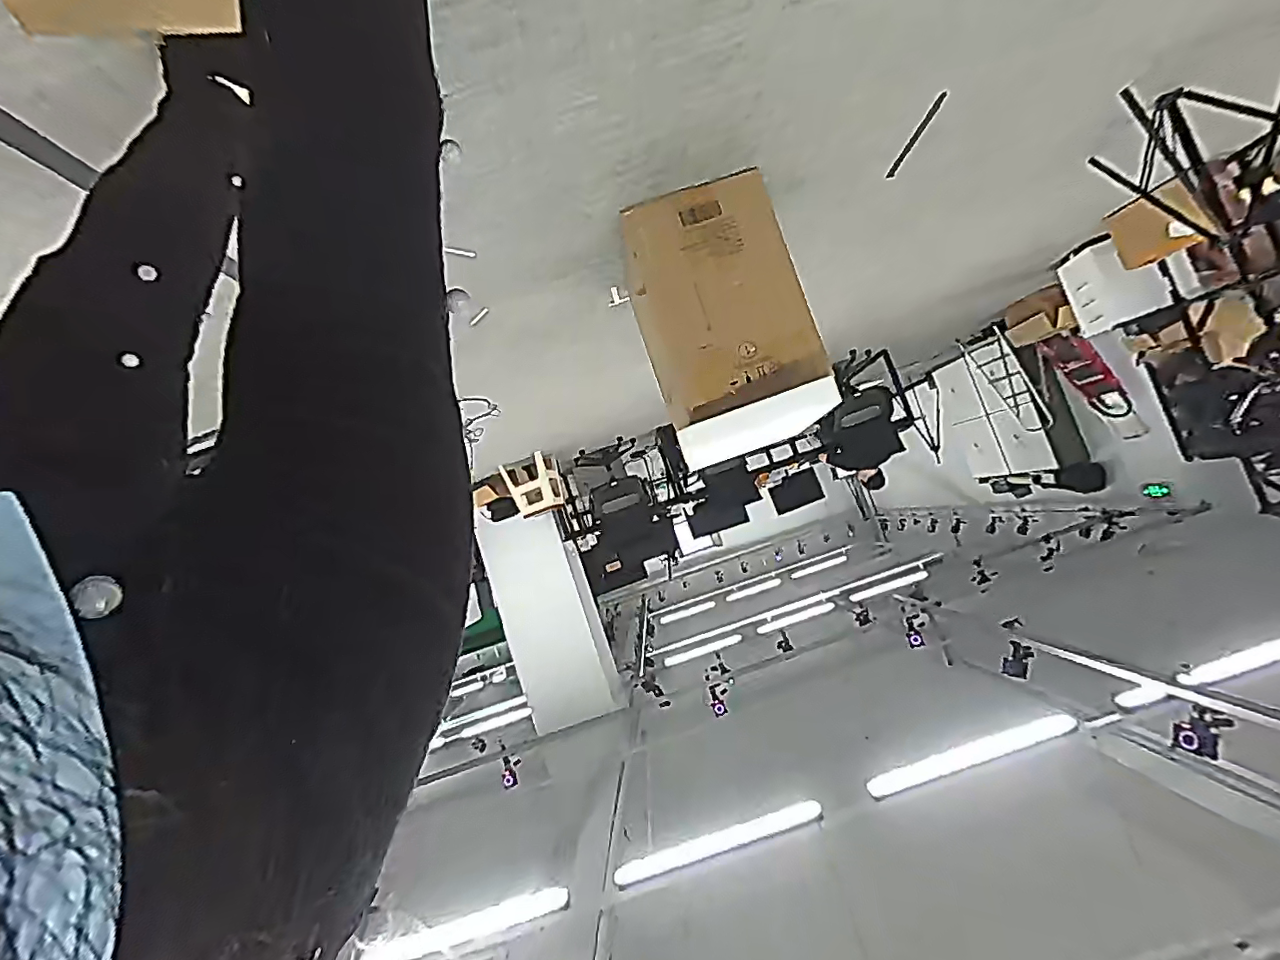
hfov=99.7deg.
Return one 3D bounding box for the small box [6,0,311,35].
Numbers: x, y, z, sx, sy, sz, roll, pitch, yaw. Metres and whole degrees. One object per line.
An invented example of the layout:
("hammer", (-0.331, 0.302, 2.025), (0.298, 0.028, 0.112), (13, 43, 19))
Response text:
("small box", (-0.336, -0.418, 0.325), (0.179, 0.176, 0.168), (-19, 174, -19))
